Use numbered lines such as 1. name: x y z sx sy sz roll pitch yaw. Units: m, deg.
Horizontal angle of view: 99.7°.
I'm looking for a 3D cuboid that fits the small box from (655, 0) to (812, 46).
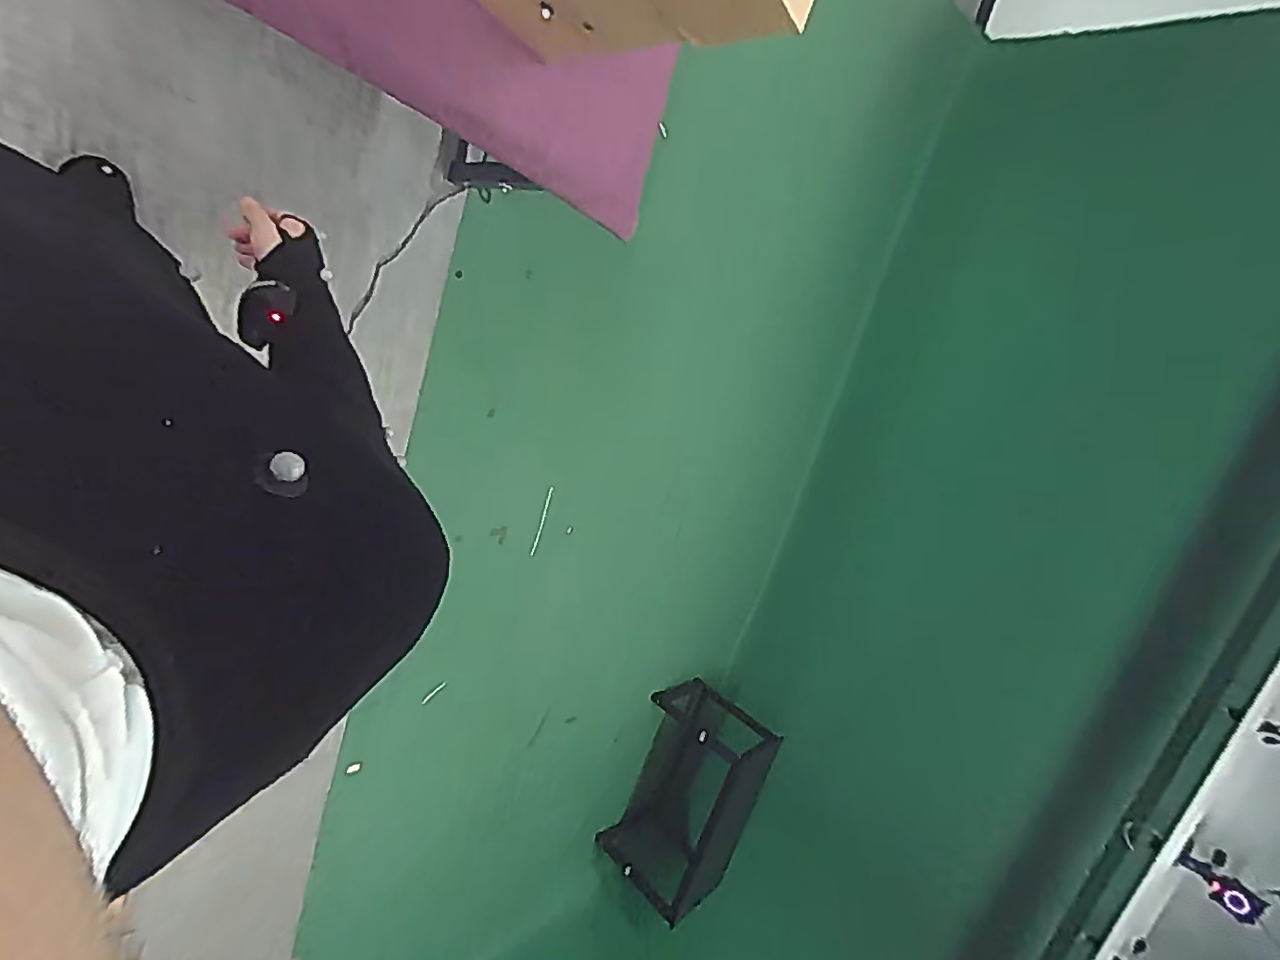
1. small box: 0.100 -0.623 0.594 0.179 0.176 0.168 10 104 -51
